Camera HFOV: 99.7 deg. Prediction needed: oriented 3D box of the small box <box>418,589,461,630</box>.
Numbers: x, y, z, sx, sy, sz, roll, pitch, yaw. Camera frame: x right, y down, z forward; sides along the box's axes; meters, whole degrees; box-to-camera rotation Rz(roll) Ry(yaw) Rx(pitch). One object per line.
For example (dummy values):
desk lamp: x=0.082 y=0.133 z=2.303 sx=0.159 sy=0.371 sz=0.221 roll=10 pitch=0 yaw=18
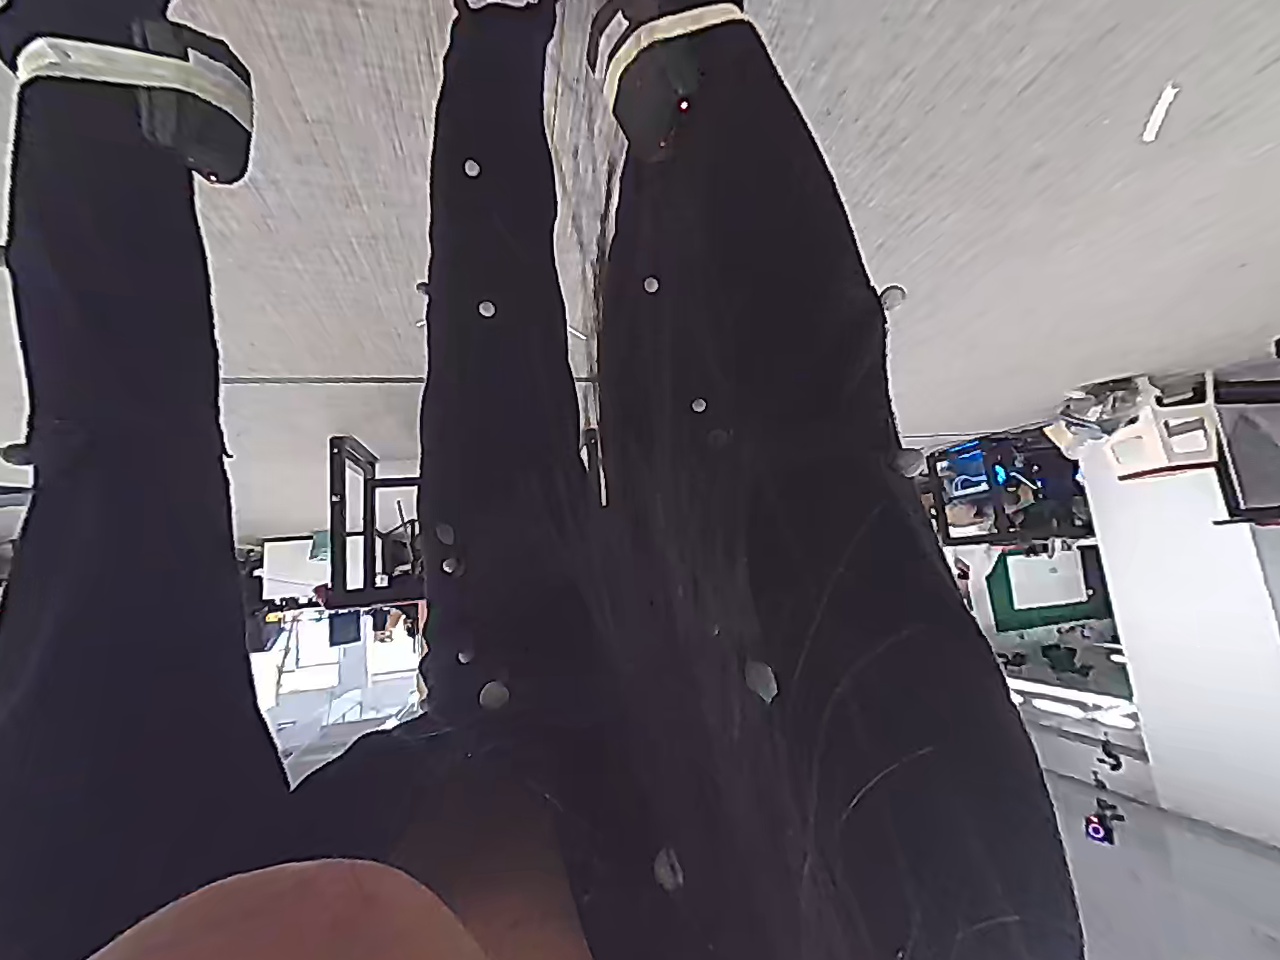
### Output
small box: x=-0.943 y=0.610 z=2.552 sx=0.179 sy=0.176 sz=0.168 roll=-3 pitch=171 yaw=-13

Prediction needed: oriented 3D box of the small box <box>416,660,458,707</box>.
small box: x=-0.934 y=0.932 z=2.494 sx=0.168 sy=0.176 sz=0.179 roll=-3 pitch=171 yaw=-13
